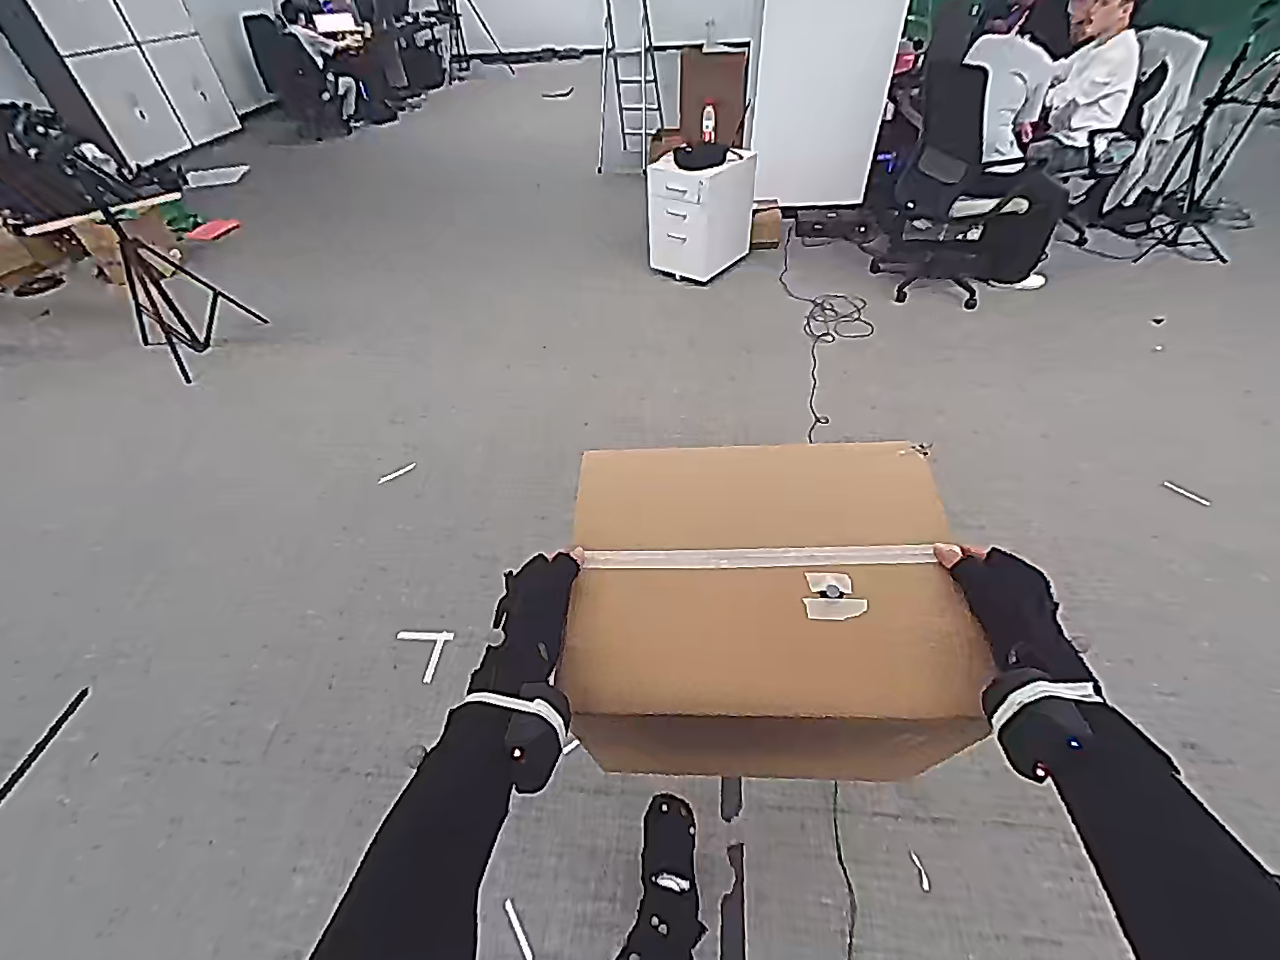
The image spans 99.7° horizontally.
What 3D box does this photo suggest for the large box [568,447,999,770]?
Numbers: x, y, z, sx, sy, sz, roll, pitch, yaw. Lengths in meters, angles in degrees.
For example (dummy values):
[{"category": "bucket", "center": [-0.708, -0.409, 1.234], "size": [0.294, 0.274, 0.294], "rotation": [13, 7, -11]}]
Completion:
[{"category": "large box", "center": [0.141, 0.179, 0.705], "size": [0.408, 0.320, 0.320], "rotation": [-2, 53, 5]}]
